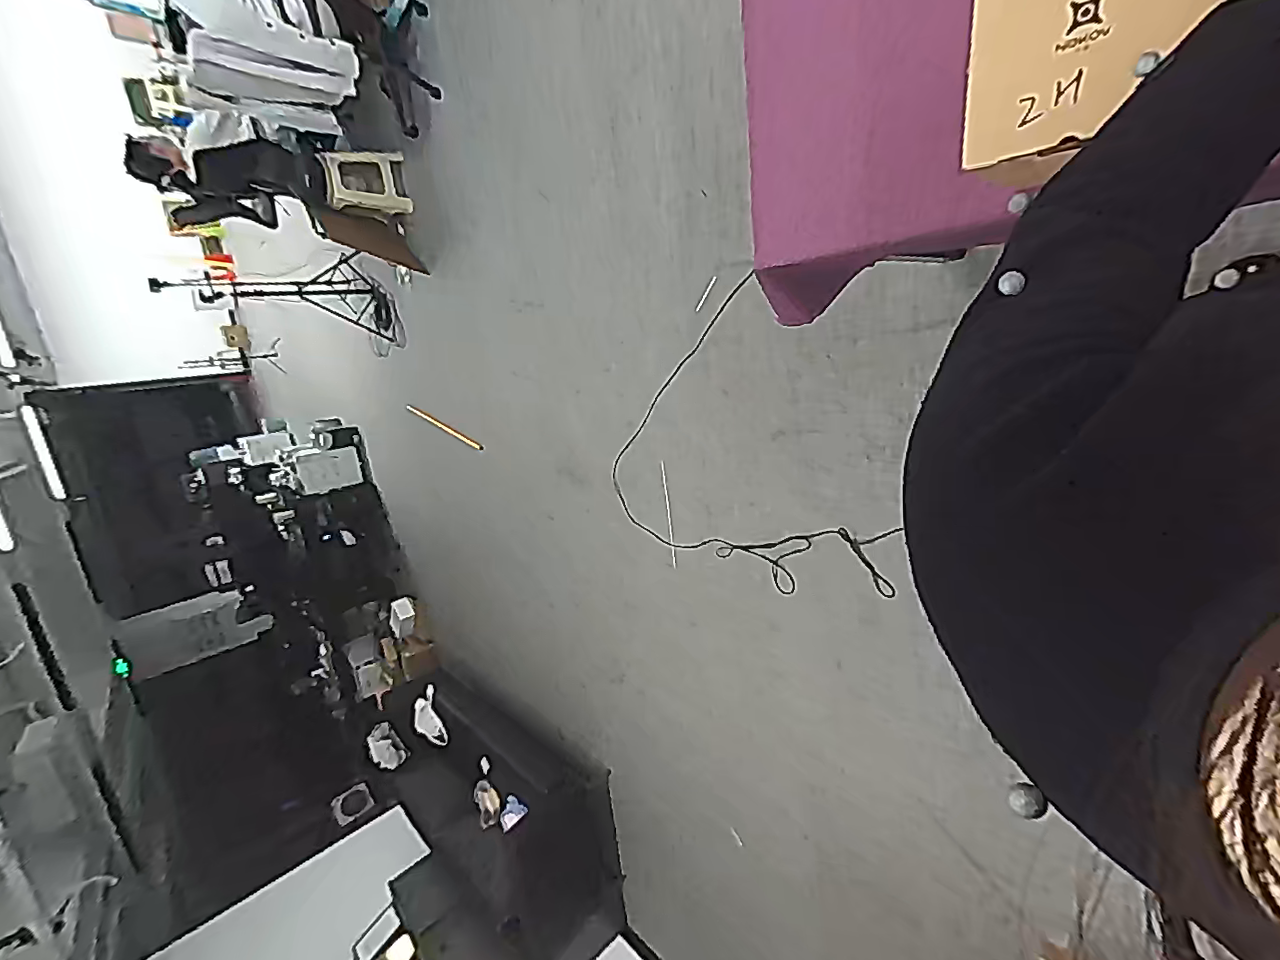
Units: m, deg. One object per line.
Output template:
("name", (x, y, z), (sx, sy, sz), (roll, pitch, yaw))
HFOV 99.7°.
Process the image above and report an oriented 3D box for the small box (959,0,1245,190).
("small box", (0.419, -0.385, 0.493), (0.168, 0.176, 0.179), (14, 114, 47))
